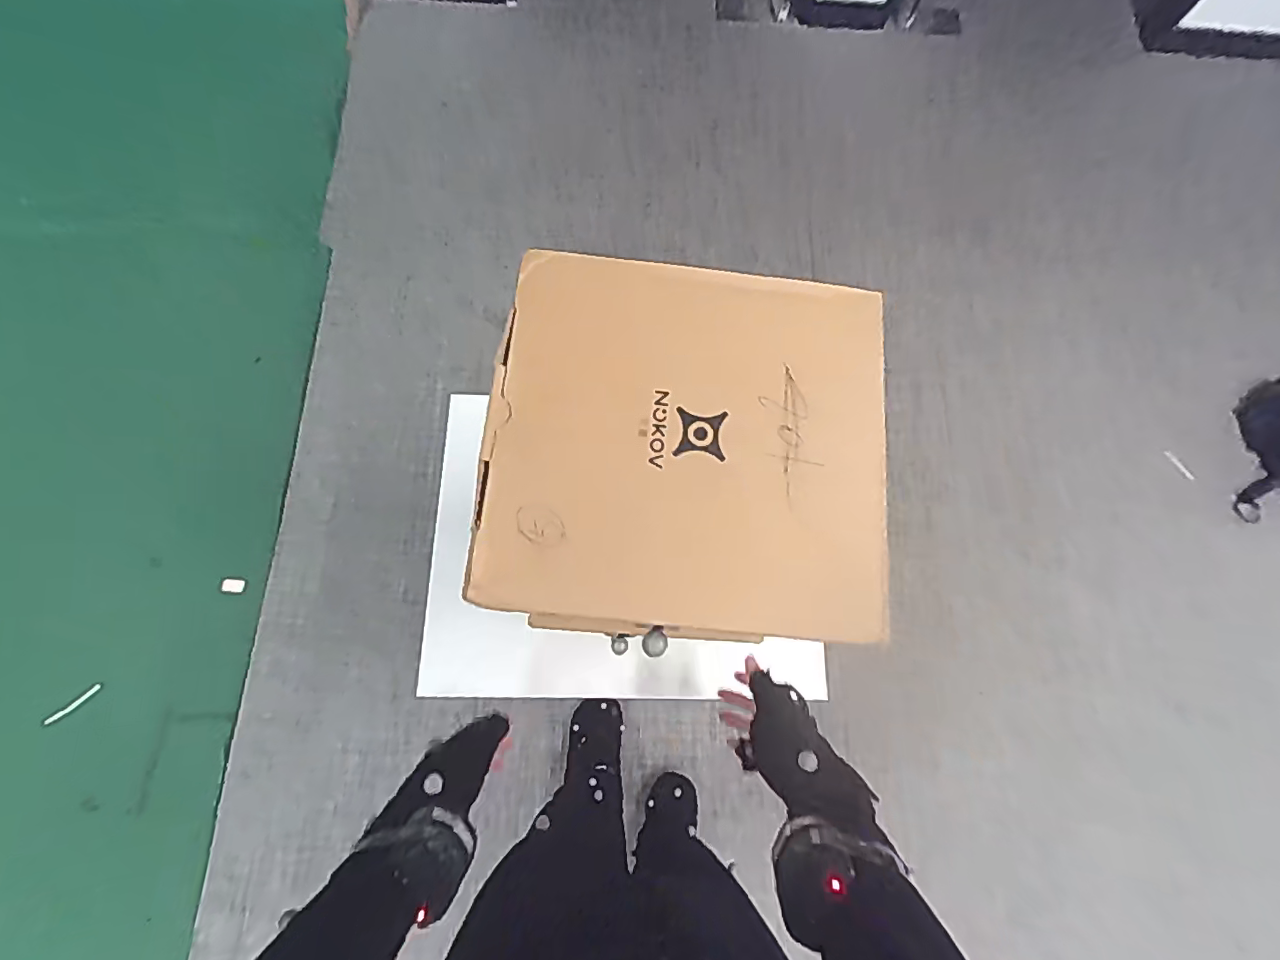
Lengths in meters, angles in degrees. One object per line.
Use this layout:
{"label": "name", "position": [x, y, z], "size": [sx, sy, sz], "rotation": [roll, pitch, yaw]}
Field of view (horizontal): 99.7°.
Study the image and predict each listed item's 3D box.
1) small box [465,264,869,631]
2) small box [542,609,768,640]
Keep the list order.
{"label": "small box", "position": [0.015, -0.001, 0.326], "size": [0.179, 0.176, 0.168], "rotation": [5, 76, -2]}
{"label": "small box", "position": [0.007, 0.049, 0.483], "size": [0.168, 0.176, 0.179], "rotation": [2, 74, -4]}
